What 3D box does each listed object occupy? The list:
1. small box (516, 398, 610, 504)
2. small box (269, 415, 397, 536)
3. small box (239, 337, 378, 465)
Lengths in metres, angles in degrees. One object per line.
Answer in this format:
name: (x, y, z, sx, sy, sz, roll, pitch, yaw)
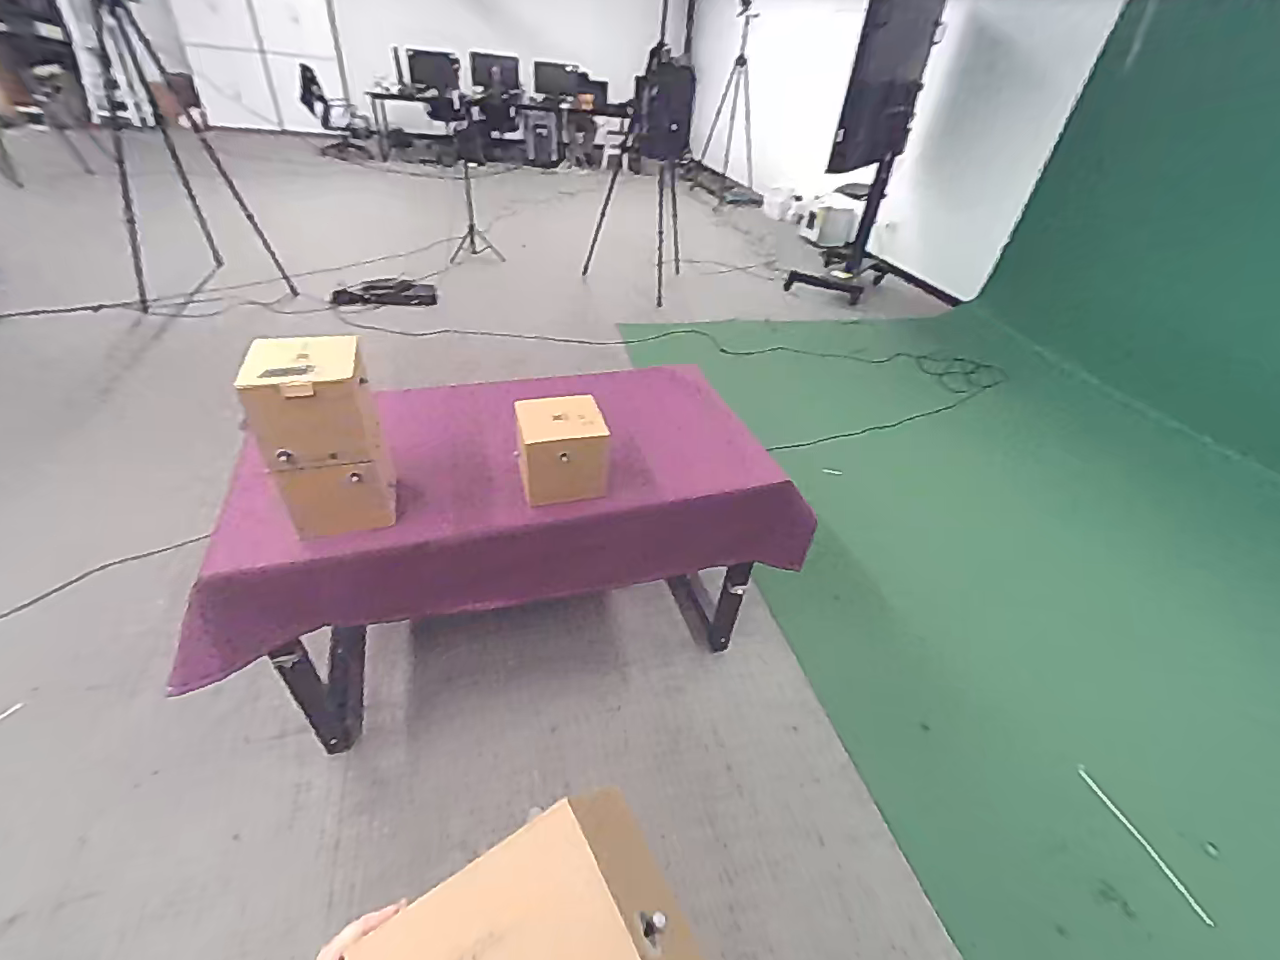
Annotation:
small box: (-0.170, -0.062, 1.188, 0.179, 0.176, 0.168, -7, 41, -16)
small box: (-0.588, -0.008, 1.059, 0.179, 0.176, 0.168, -7, 40, -18)
small box: (-0.572, -0.137, 0.959, 0.168, 0.176, 0.179, -7, 39, -19)
